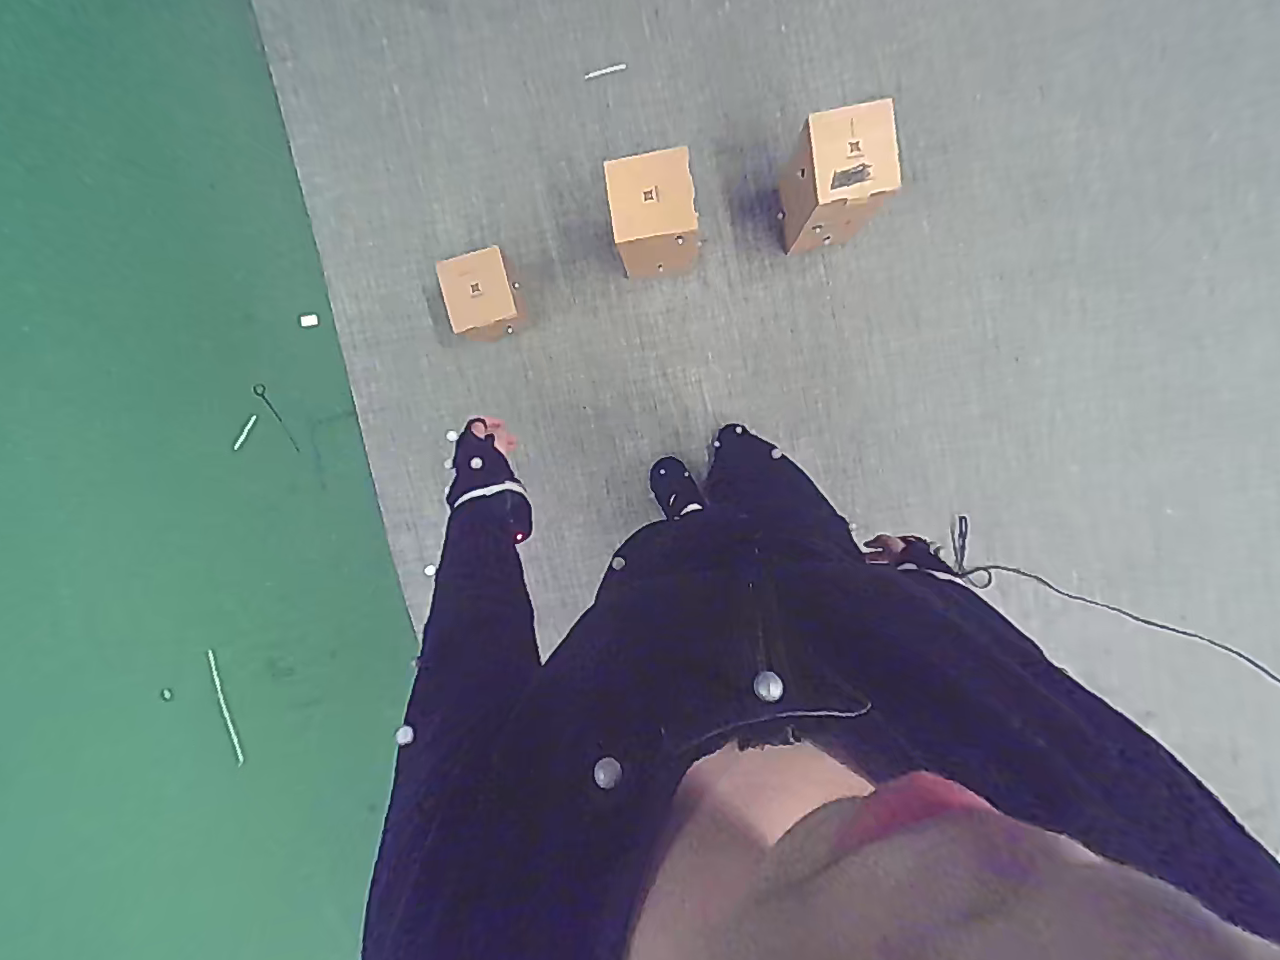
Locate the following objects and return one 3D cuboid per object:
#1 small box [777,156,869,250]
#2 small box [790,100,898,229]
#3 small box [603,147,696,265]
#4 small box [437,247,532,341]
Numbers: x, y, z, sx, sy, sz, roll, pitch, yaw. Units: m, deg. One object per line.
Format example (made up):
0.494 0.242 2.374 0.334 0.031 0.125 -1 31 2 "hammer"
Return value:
0.437 -0.674 1.309 0.168 0.176 0.179 -10 95 5 "small box"
0.424 -0.654 1.146 0.168 0.176 0.179 -8 94 5 "small box"
0.026 -0.587 1.183 0.179 0.176 0.168 -8 94 5 "small box"
-0.390 -0.467 1.391 0.168 0.176 0.179 -14 94 5 "small box"
